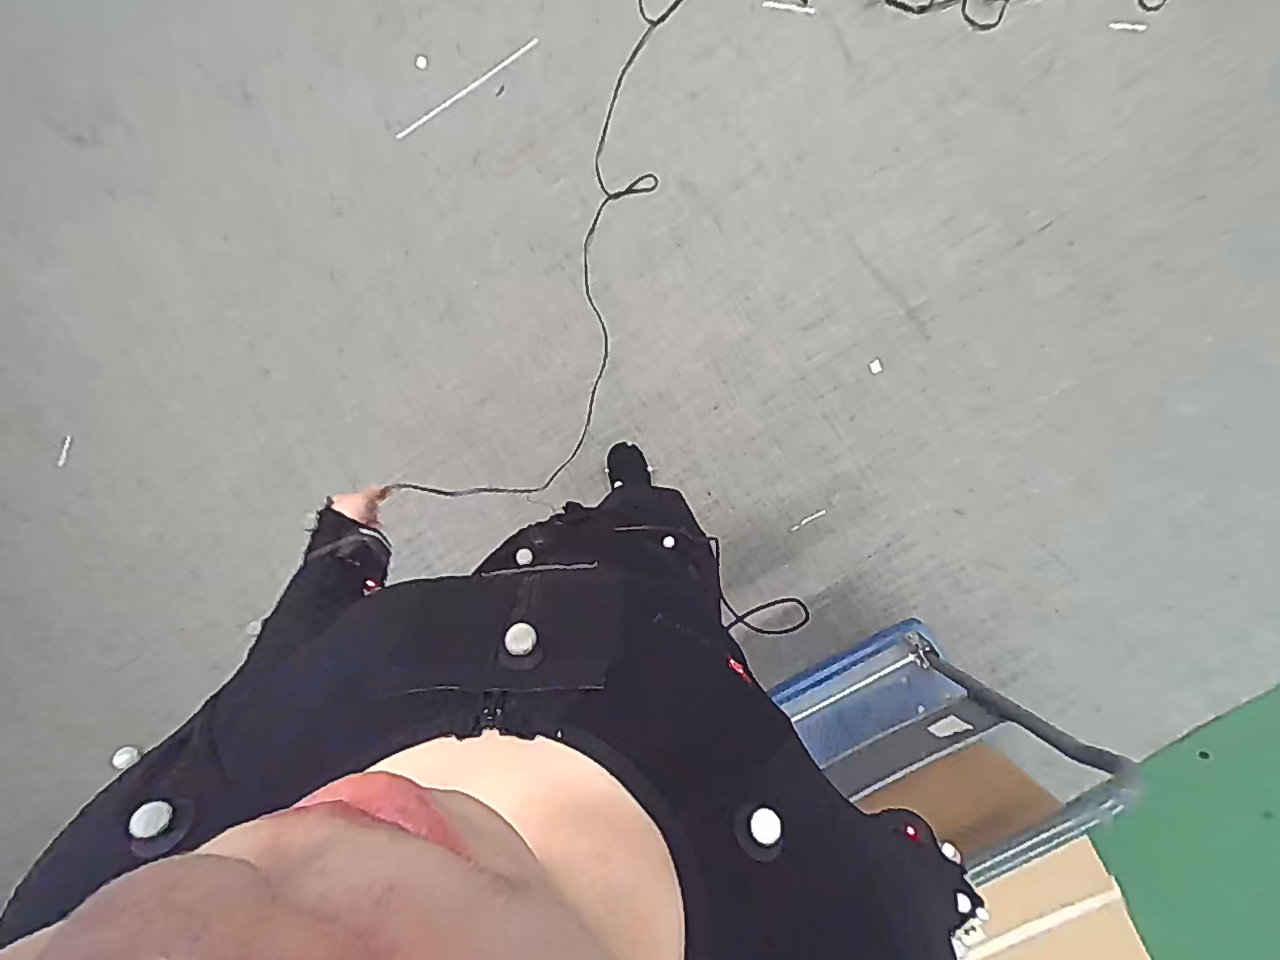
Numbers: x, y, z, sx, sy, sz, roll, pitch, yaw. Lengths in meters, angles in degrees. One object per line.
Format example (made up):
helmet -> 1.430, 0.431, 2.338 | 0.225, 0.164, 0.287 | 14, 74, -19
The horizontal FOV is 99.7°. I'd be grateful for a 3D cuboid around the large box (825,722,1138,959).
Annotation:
large box -> 0.677, 0.795, 1.145 | 0.408, 0.320, 0.320 | -27, 88, 3
